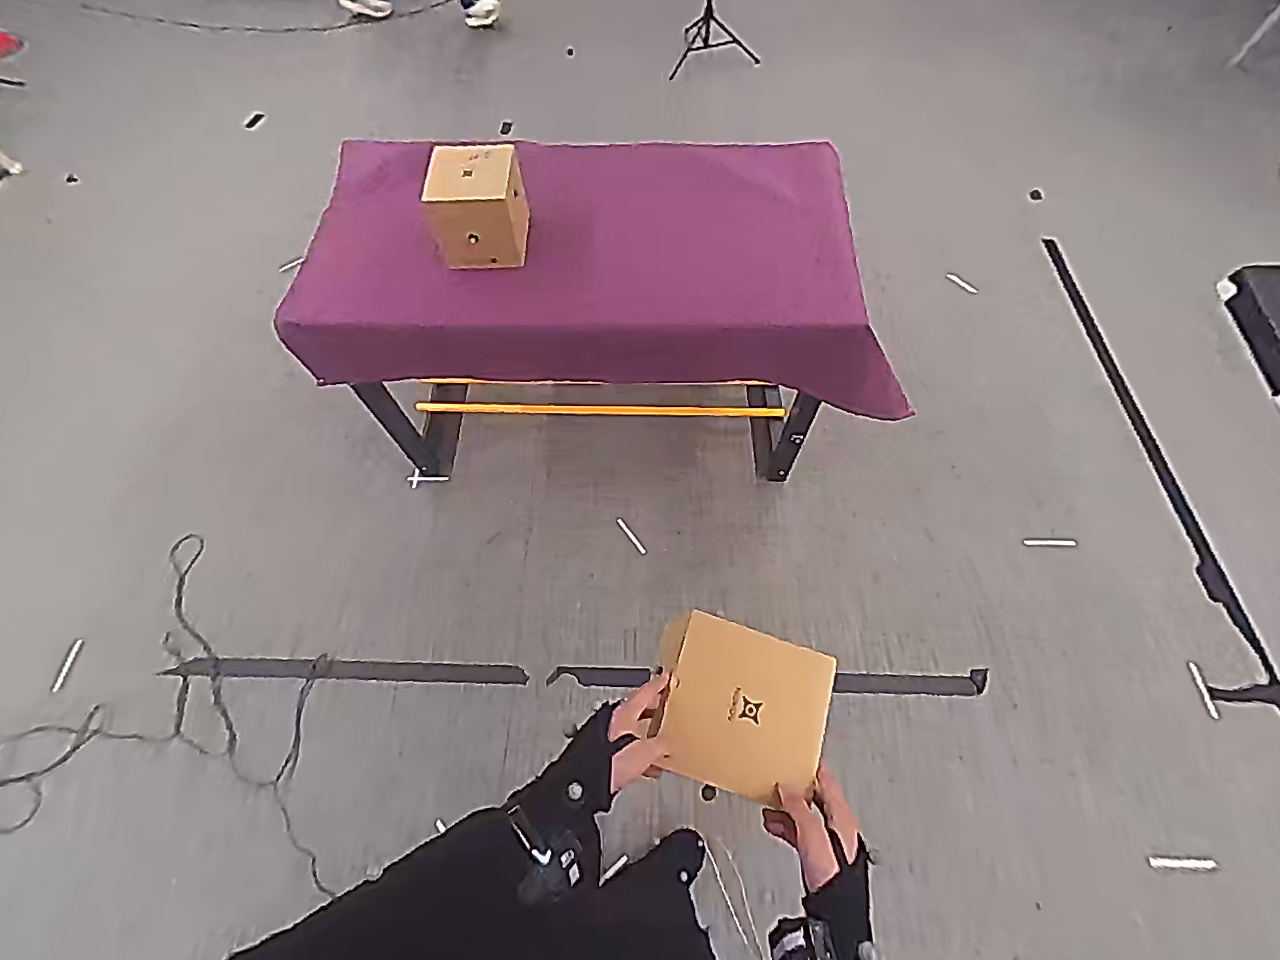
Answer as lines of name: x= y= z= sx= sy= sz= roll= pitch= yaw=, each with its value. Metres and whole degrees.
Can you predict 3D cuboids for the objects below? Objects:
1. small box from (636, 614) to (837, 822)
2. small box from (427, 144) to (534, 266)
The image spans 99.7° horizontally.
small box: x=0.105 y=0.271 z=0.645 sx=0.179 sy=0.176 sz=0.168 roll=18 pitch=70 yaw=1
small box: x=-0.326 y=-0.575 z=1.143 sx=0.168 sy=0.176 sz=0.179 roll=0 pitch=63 yaw=1
